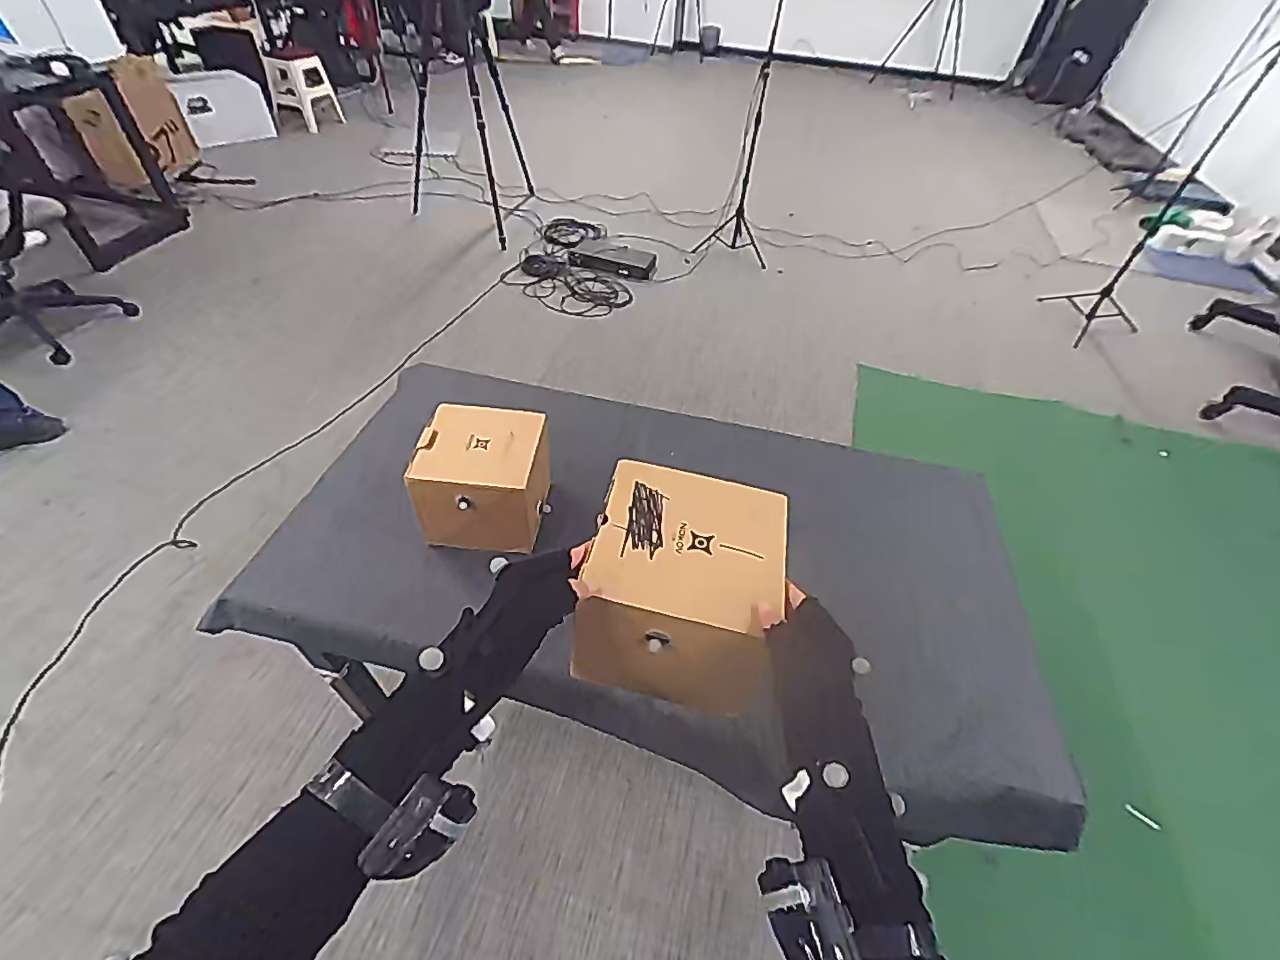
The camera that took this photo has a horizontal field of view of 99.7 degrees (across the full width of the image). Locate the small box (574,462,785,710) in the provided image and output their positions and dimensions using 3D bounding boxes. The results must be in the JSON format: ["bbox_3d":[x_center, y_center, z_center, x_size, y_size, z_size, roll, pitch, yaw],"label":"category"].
[{"bbox_3d":[0.036,0.111,0.553,0.179,0.176,0.168,14,47,3],"label":"small box"}]

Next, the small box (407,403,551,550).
[{"bbox_3d":[-0.248,-0.002,0.881,0.179,0.176,0.168,6,49,-1],"label":"small box"}]
